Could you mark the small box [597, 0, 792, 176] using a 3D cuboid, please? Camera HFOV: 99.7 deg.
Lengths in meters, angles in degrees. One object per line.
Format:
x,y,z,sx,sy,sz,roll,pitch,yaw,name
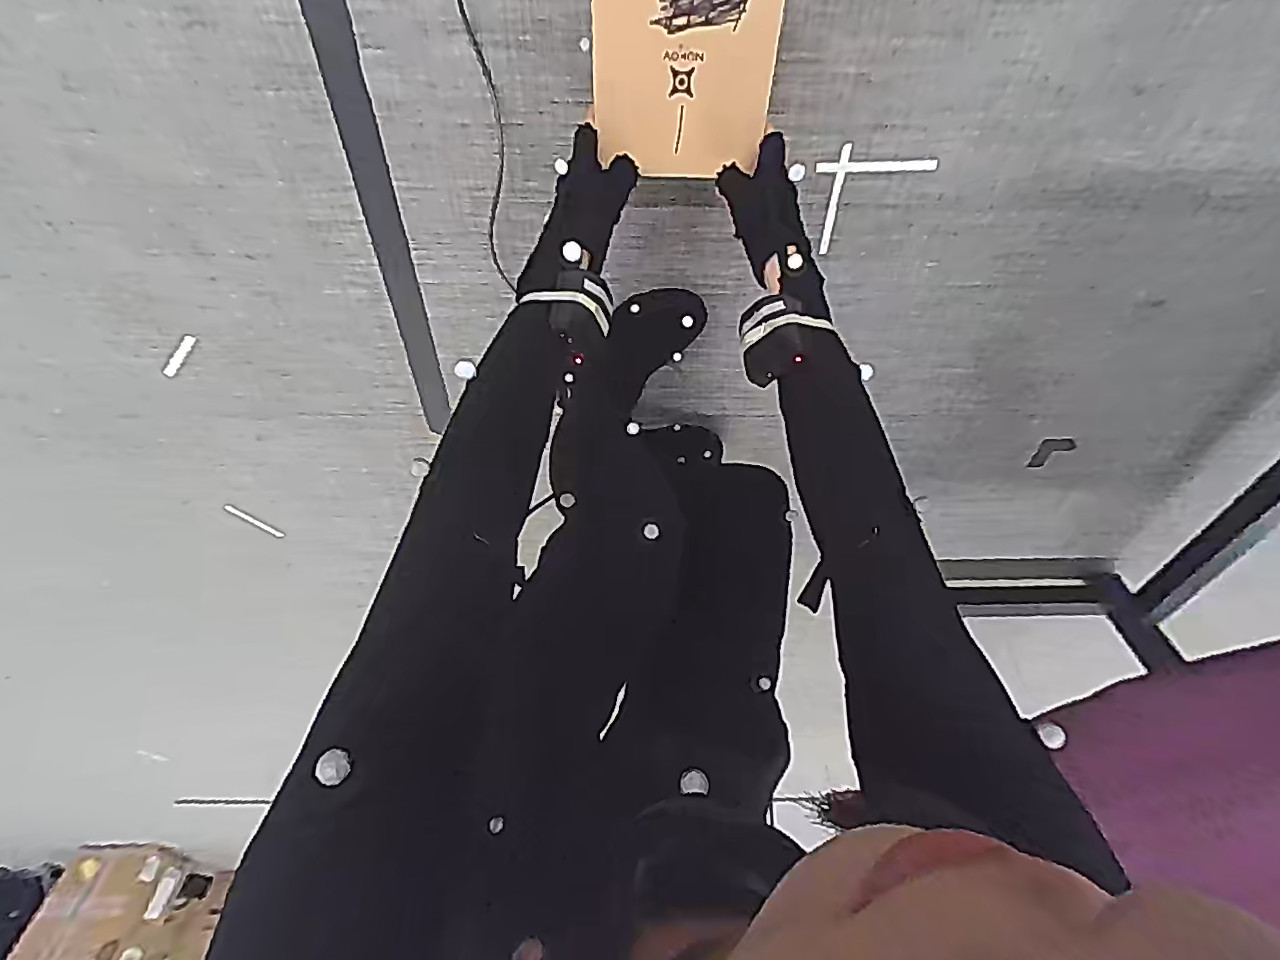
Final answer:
0.041,-0.420,0.539,0.168,0.176,0.179,0,131,-3,small box
